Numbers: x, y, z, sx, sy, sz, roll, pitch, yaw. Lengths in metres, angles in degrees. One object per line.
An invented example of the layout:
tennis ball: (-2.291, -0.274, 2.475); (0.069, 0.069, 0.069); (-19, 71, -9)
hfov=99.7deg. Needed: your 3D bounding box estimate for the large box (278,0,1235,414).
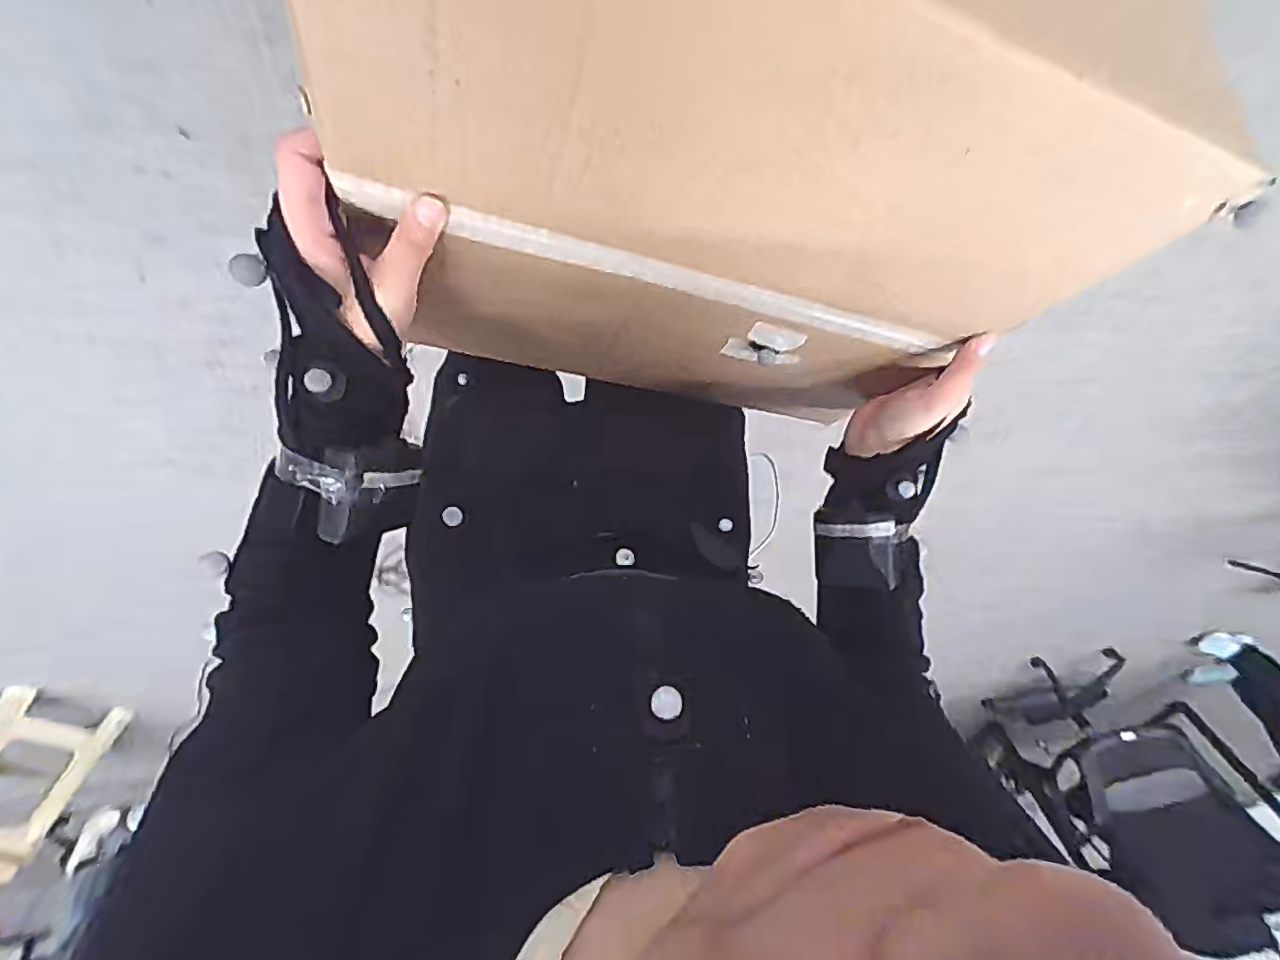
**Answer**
large box: (0.039, -0.266, 0.362); (0.408, 0.320, 0.320); (7, 165, -18)
